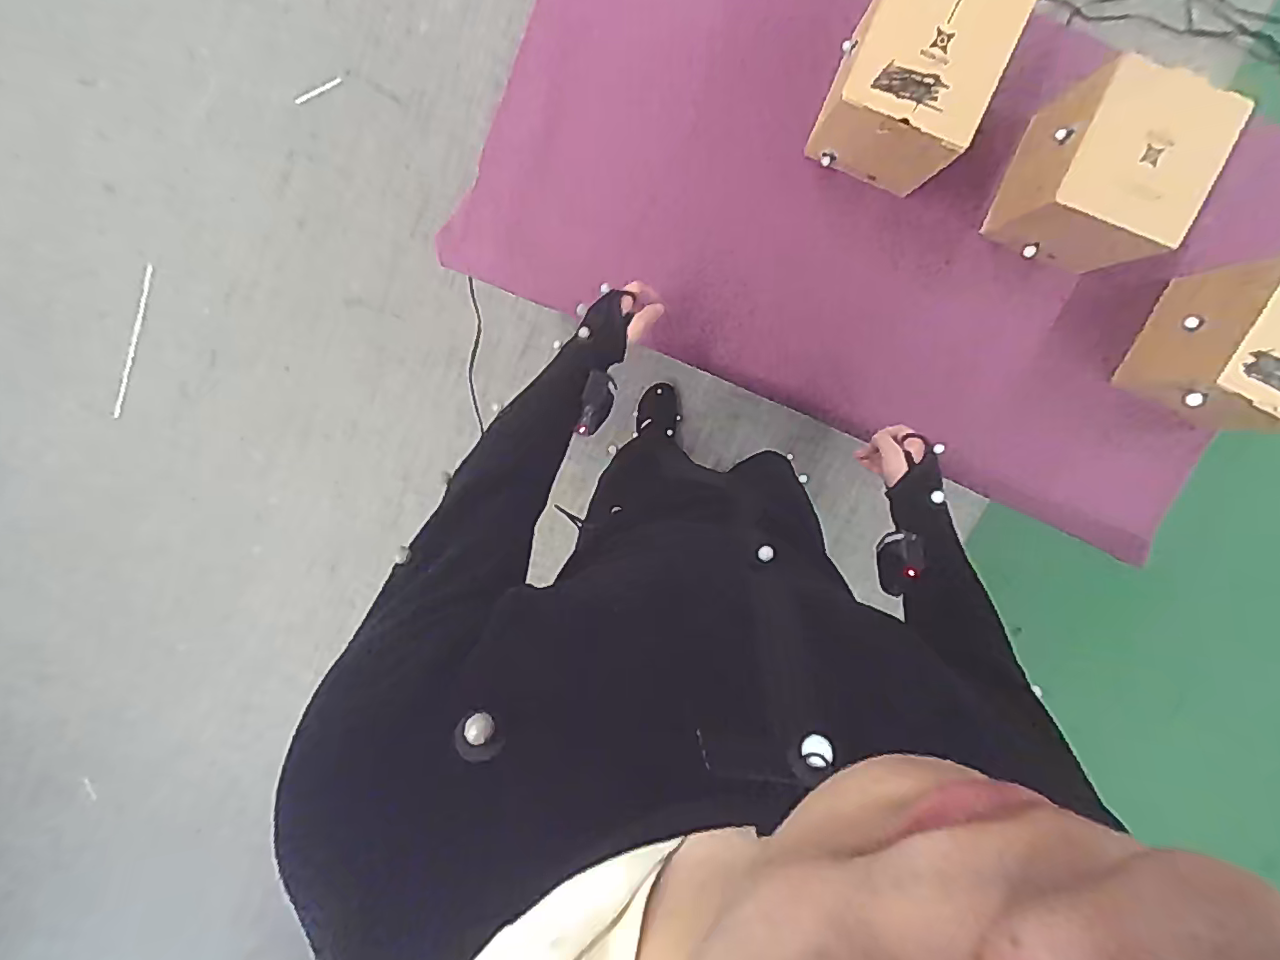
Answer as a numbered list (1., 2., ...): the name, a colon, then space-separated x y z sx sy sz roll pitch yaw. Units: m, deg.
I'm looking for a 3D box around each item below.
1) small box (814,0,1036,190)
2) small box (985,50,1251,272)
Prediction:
1. small box: 0.347 -0.514 0.704 0.168 0.176 0.179 22 99 -3
2. small box: 0.609 -0.403 0.719 0.168 0.176 0.179 22 101 -2
